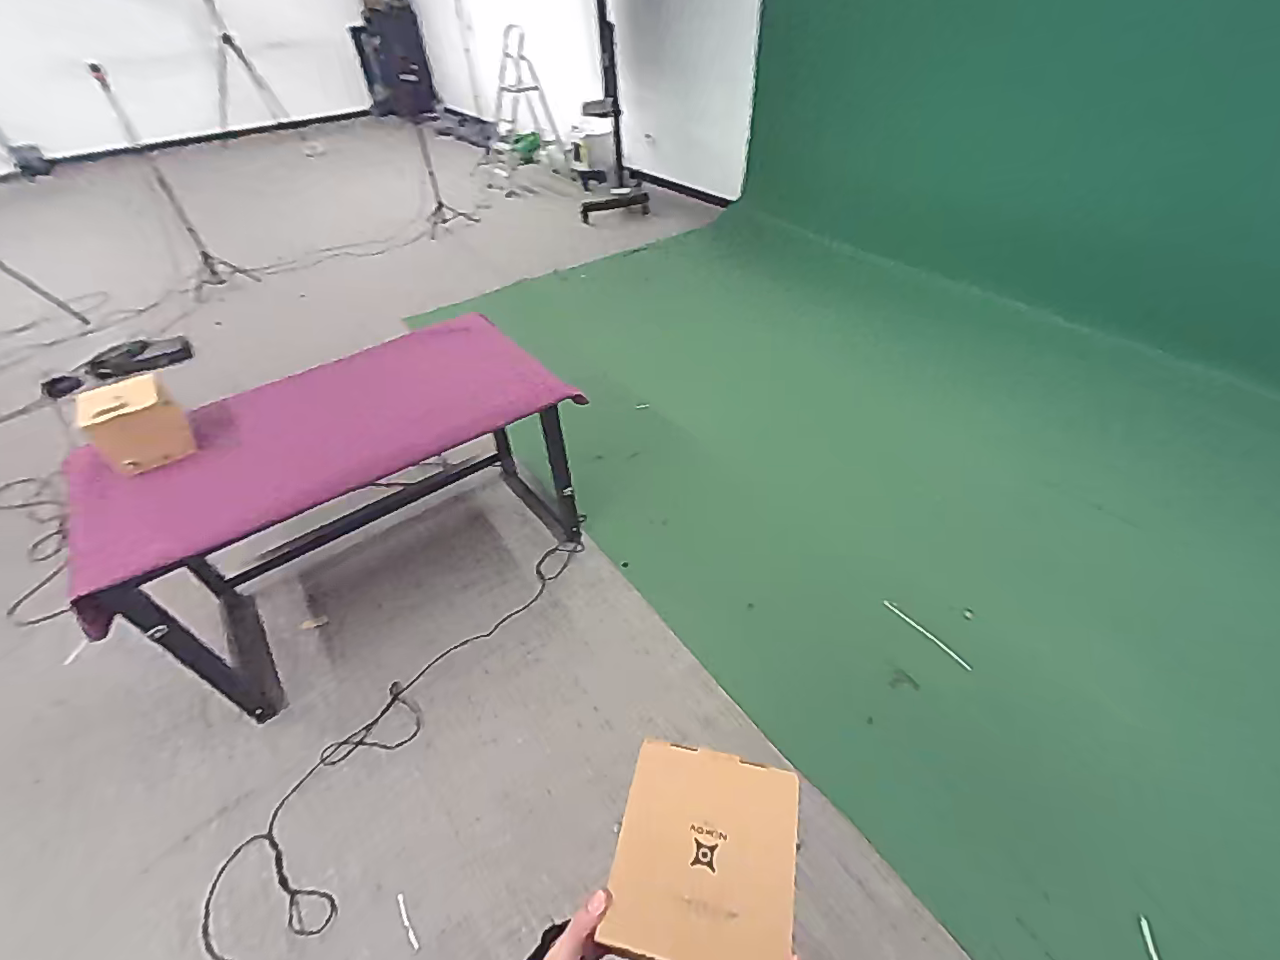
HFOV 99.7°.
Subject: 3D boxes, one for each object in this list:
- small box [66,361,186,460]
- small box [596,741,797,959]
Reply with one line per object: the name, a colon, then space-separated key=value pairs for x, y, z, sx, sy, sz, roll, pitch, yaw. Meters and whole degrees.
small box: x=-1.311 y=-0.171 z=1.389 sx=0.168 sy=0.176 sz=0.179 roll=-27 pitch=51 yaw=-24
small box: x=0.062 y=0.408 z=0.564 sx=0.168 sy=0.176 sz=0.179 roll=8 pitch=47 yaw=12
